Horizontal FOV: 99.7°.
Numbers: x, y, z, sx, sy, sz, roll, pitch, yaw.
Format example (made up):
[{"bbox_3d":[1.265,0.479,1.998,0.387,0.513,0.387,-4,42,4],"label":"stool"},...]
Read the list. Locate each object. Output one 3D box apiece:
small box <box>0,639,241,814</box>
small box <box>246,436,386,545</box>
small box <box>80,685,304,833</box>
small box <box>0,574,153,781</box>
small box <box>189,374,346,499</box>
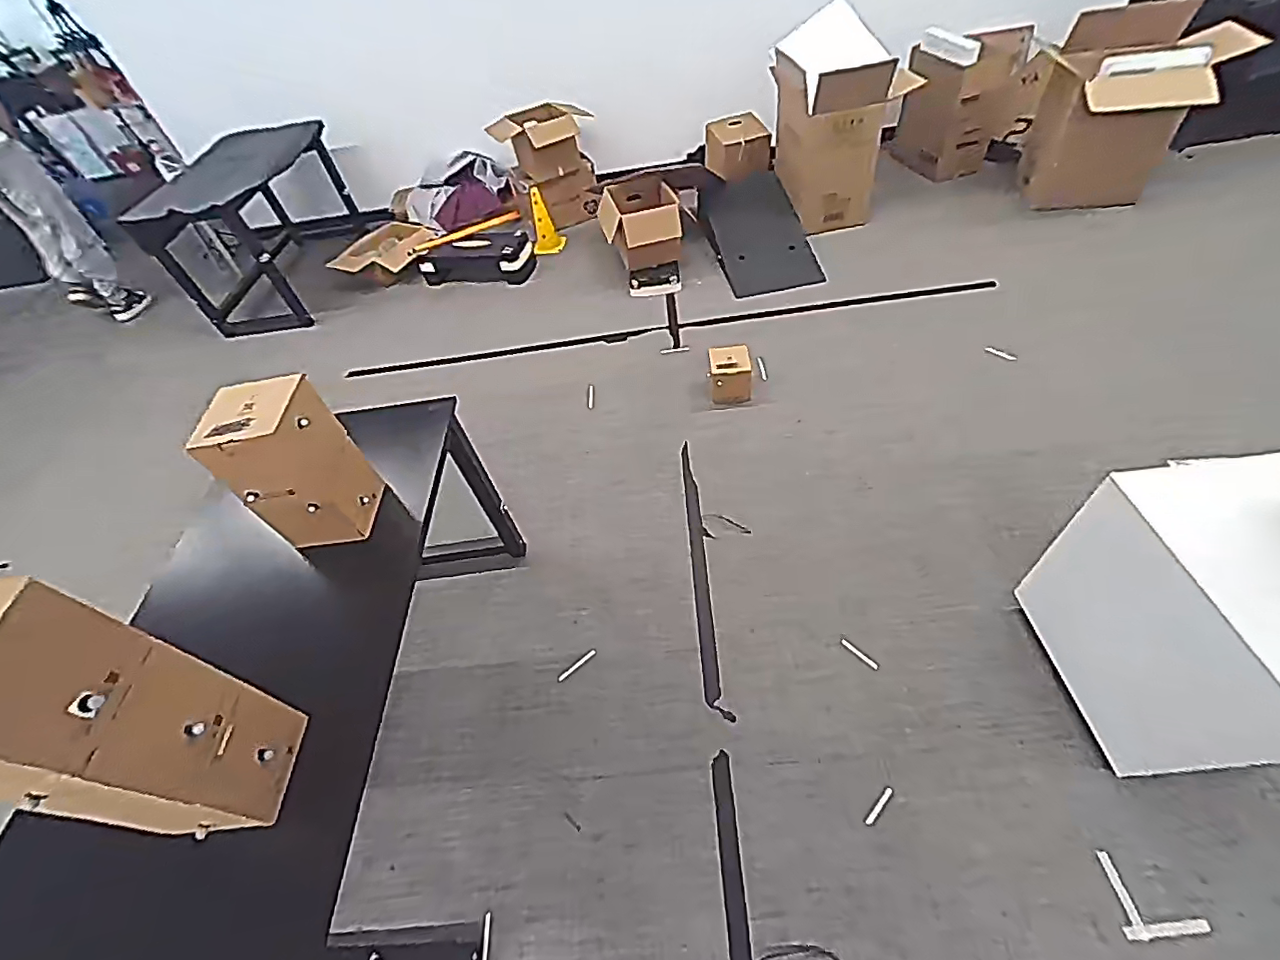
[{"bbox_3d":[-0.691,0.329,0.713,0.179,0.176,0.168,-8,50,3],"label":"small box"},{"bbox_3d":[-0.698,0.028,1.187,0.179,0.176,0.168,-7,49,4],"label":"small box"},{"bbox_3d":[-0.668,0.434,0.837,0.179,0.176,0.168,-8,49,3],"label":"small box"},{"bbox_3d":[-0.713,0.224,0.590,0.179,0.176,0.168,-8,50,3],"label":"small box"},{"bbox_3d":[-0.713,-0.078,1.062,0.168,0.176,0.179,-10,49,1],"label":"small box"}]
